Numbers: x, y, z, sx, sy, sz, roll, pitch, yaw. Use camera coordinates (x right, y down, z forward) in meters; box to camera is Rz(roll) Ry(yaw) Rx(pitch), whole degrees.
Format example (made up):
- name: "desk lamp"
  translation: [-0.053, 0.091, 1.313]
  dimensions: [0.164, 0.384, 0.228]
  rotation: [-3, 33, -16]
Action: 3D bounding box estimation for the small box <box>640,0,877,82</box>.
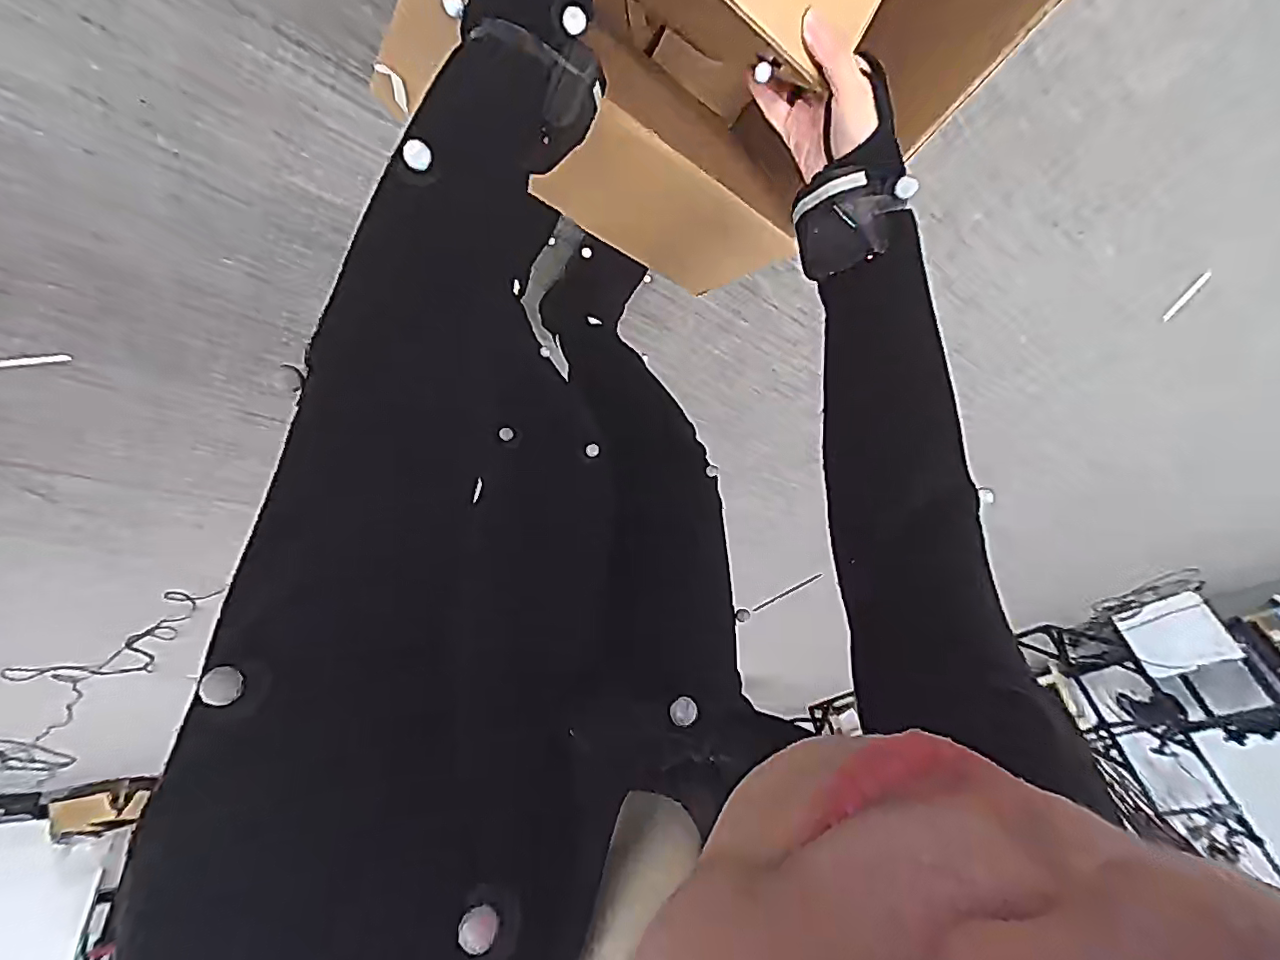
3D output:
- name: "small box"
  translation: [0.062, -0.388, 0.330]
  dimensions: [0.179, 0.176, 0.168]
  rotation: [2, 129, -40]
